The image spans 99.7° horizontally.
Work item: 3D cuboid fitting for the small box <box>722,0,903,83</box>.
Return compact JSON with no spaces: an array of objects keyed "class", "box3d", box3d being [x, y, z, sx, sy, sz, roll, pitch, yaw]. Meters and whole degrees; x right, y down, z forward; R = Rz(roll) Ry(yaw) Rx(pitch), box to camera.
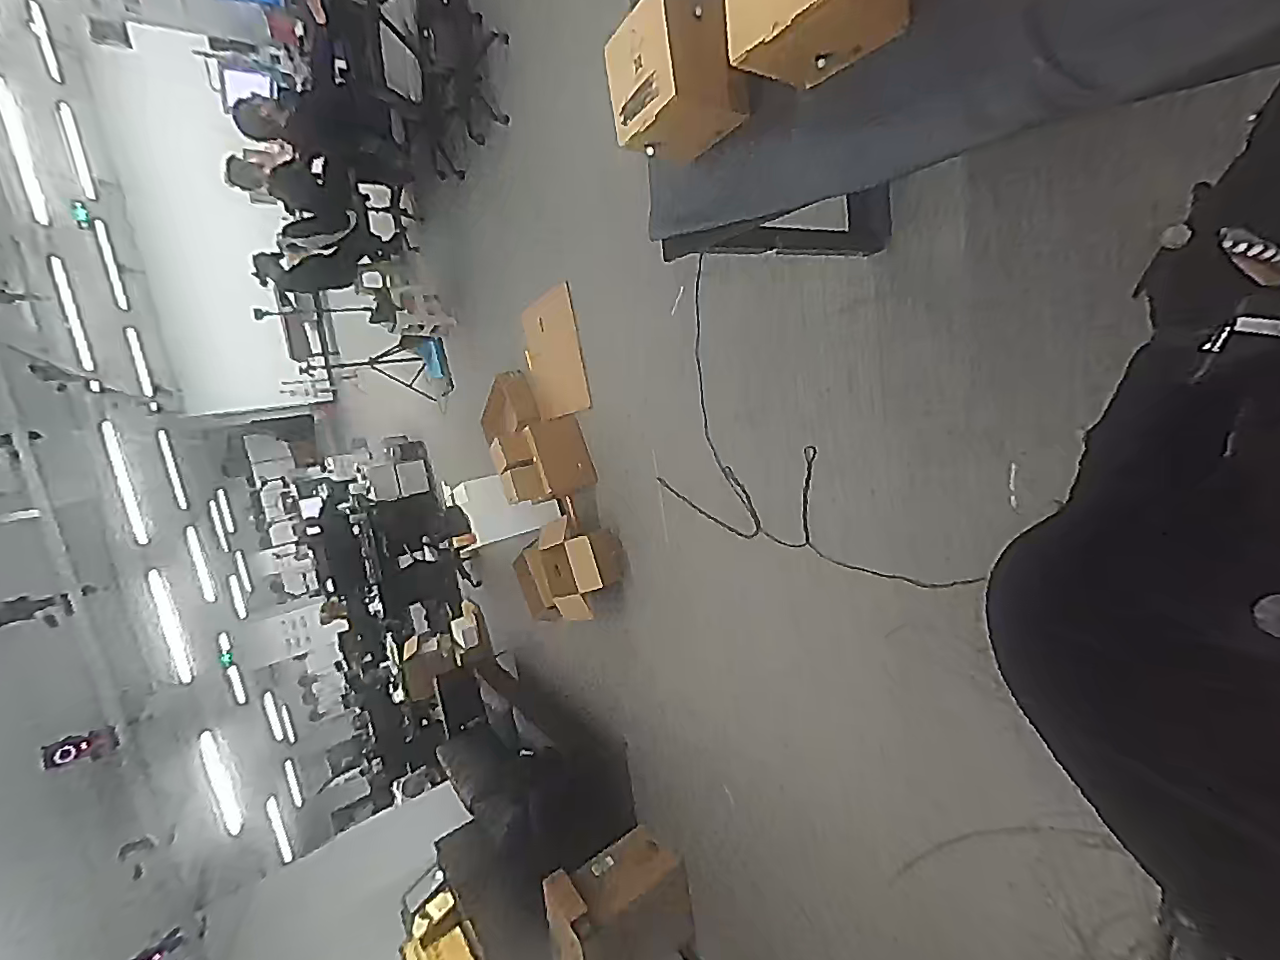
[{"class":"small box","box3d":[0.224,-0.666,0.709,0.168,0.176,0.179,8,109,53]}]
